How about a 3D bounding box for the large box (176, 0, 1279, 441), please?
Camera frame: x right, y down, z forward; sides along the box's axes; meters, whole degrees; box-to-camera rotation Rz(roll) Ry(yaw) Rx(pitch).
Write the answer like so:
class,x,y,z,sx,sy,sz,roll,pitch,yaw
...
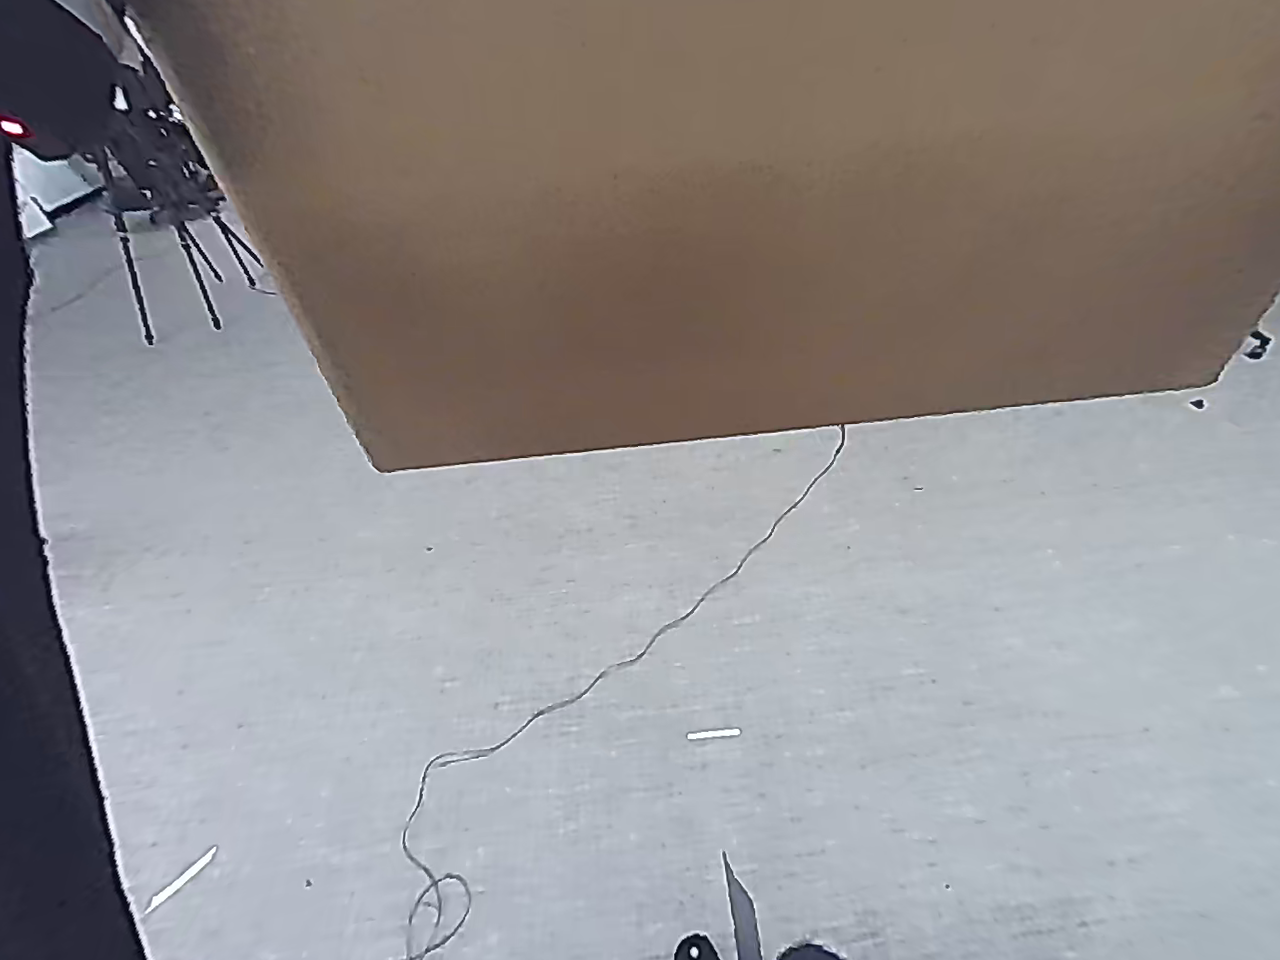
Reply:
class,x,y,z,sx,sy,sz,roll,pitch,yaw
large box,0.048,-0.245,0.277,0.408,0.320,0.320,-6,42,-2
